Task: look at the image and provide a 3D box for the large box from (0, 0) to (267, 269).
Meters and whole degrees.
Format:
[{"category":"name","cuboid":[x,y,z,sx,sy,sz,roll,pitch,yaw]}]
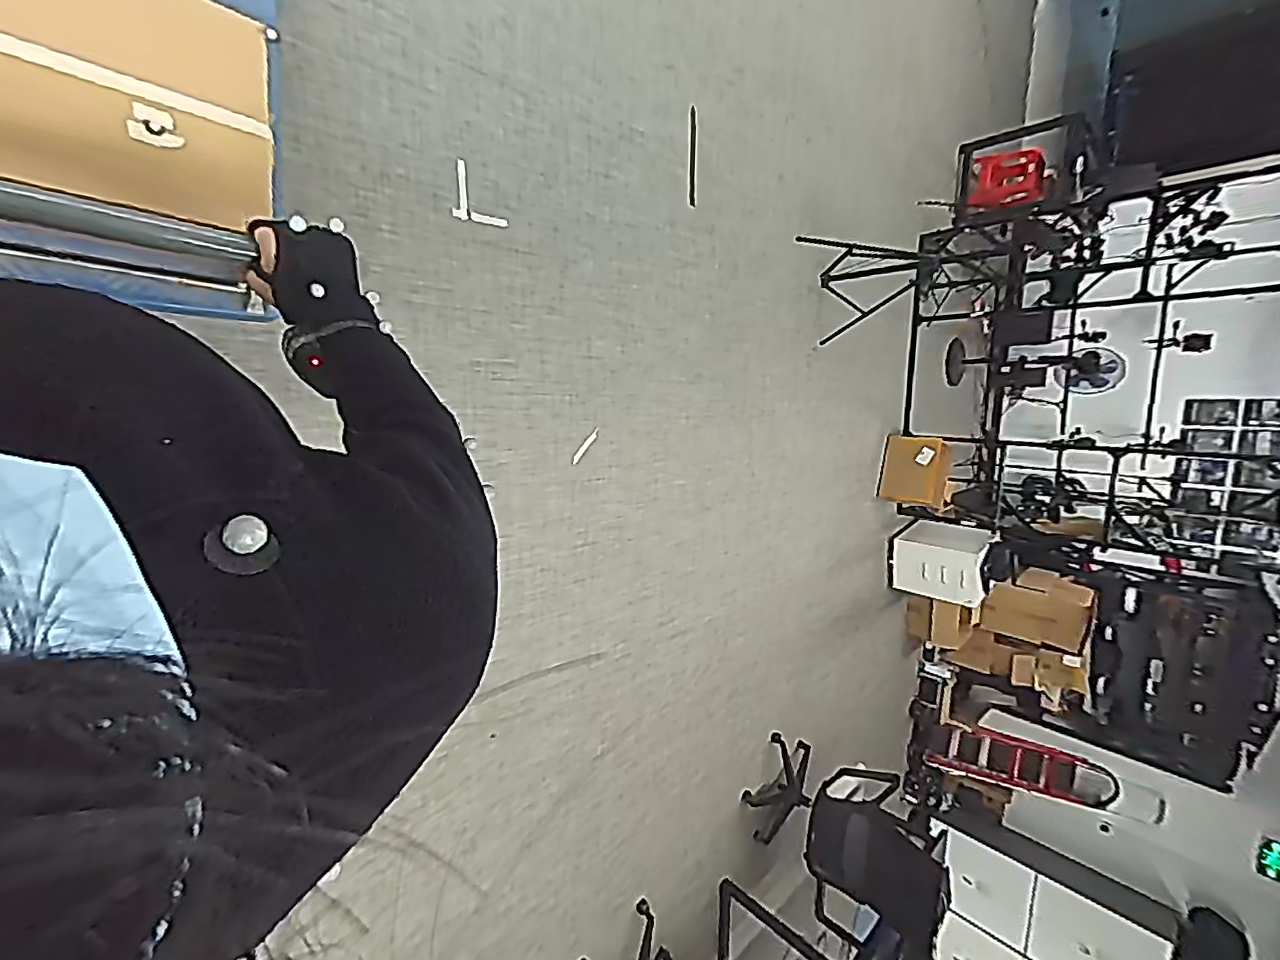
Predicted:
[{"category":"large box","cuboid":[-0.829,-0.533,0.798,0.408,0.320,0.320,-3,100,-46]}]
